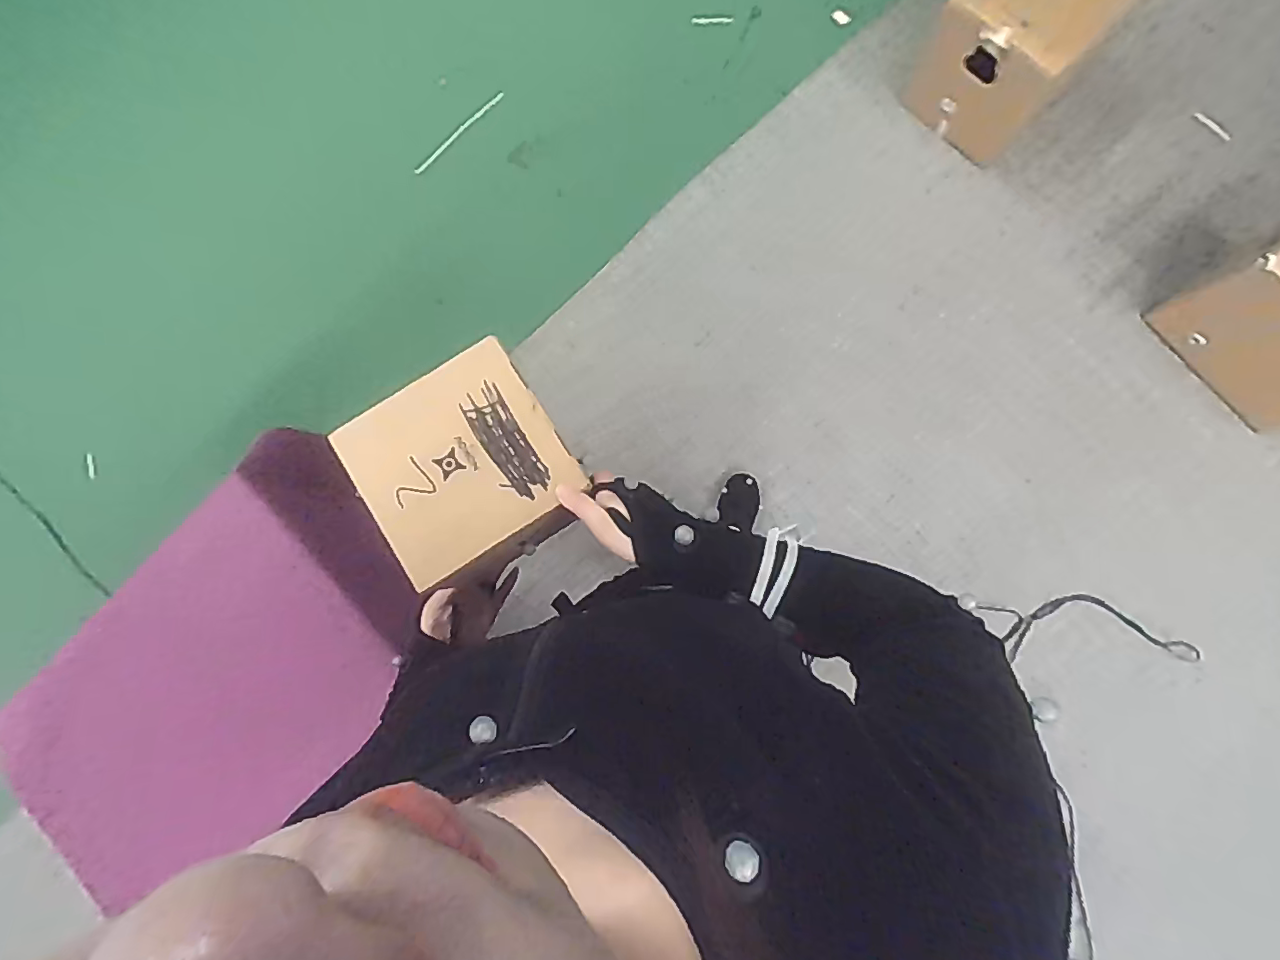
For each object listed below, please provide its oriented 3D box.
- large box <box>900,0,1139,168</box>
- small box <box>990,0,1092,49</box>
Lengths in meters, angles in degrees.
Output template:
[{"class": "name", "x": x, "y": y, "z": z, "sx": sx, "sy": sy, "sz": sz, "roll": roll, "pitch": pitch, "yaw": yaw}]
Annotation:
[{"class": "large box", "x": 0.965, "y": -1.120, "z": 1.381, "sx": 0.408, "sy": 0.320, "sz": 0.320, "roll": -43, "pitch": 82, "yaw": 0}, {"class": "small box", "x": 0.885, "y": -1.075, "z": 1.139, "sx": 0.179, "sy": 0.176, "sz": 0.168, "roll": -41, "pitch": 82, "yaw": 0}]
